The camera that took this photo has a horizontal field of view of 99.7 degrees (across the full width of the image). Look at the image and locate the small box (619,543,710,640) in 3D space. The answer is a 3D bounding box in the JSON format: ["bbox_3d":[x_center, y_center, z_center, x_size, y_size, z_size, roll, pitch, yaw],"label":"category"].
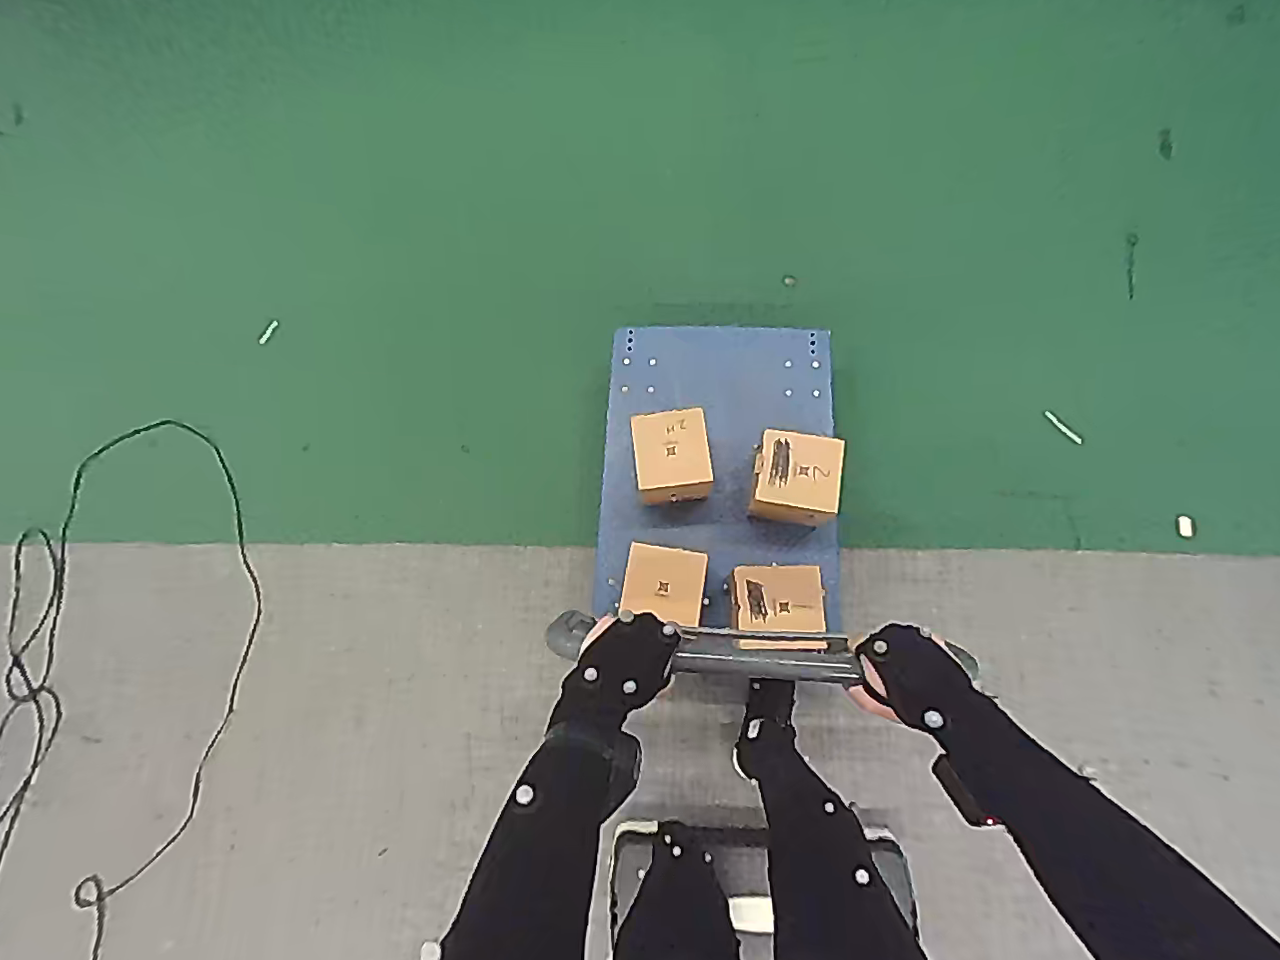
[{"bbox_3d":[0.055,0.248,1.190,0.168,0.176,0.179,9,76,6],"label":"small box"}]

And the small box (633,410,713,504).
[{"bbox_3d":[0.078,-0.045,1.268,0.168,0.176,0.179,-6,74,1],"label":"small box"}]

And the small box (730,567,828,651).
[{"bbox_3d":[0.288,0.279,1.163,0.179,0.176,0.168,-1,75,2],"label":"small box"}]
